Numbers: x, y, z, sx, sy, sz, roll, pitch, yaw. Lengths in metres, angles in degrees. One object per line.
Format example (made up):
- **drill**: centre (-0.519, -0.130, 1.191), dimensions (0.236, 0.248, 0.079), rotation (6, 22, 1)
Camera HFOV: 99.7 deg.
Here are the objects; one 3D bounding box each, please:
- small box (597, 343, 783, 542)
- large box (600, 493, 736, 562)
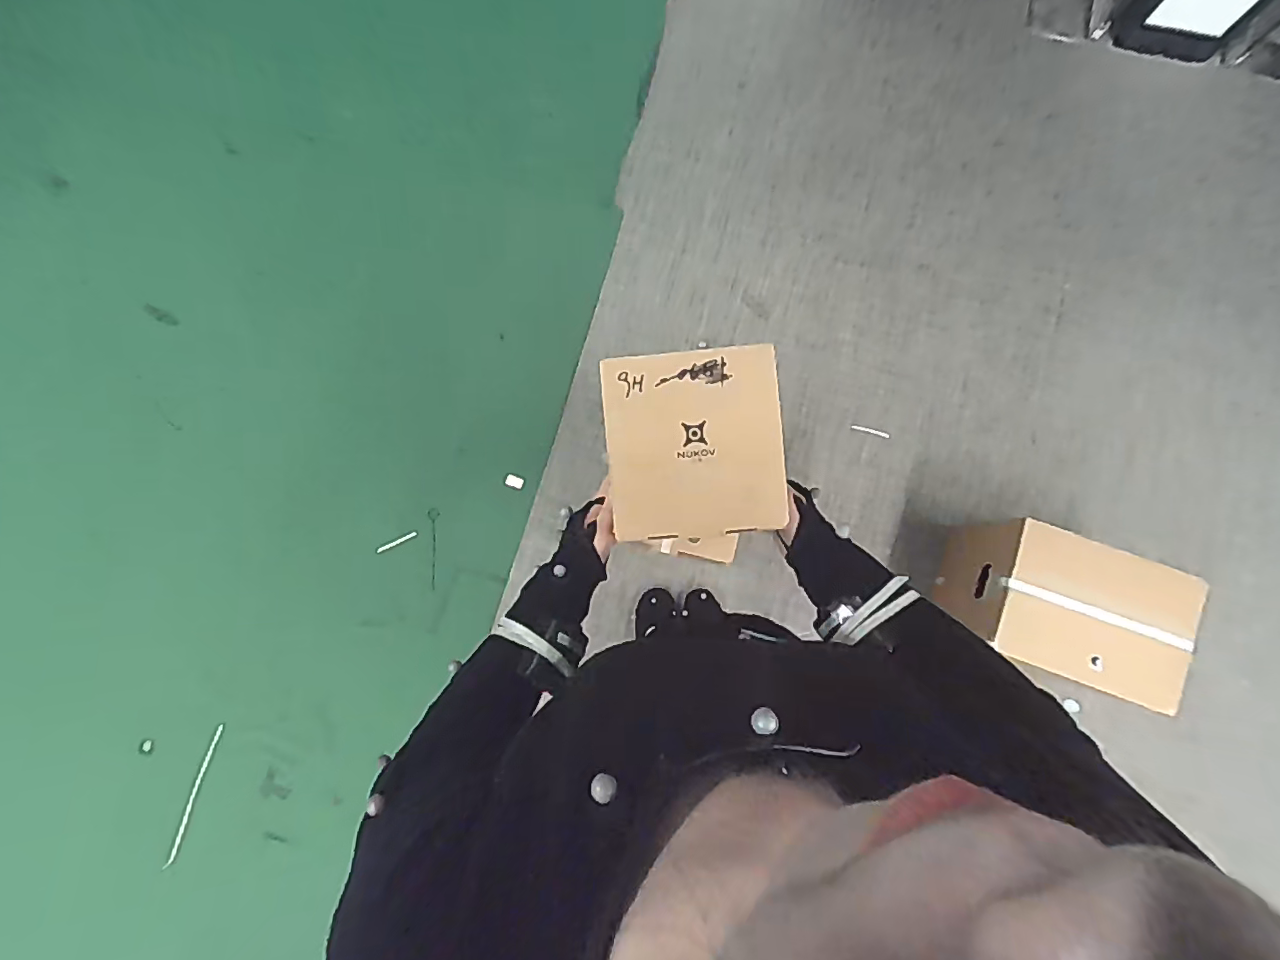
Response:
- **small box**: centre (0.050, -0.037, 0.582), dimensions (0.168, 0.176, 0.179), rotation (-5, 91, 1)
- **large box**: centre (0.105, -0.017, 1.404), dimensions (0.320, 0.320, 0.408), rotation (14, 81, 4)
